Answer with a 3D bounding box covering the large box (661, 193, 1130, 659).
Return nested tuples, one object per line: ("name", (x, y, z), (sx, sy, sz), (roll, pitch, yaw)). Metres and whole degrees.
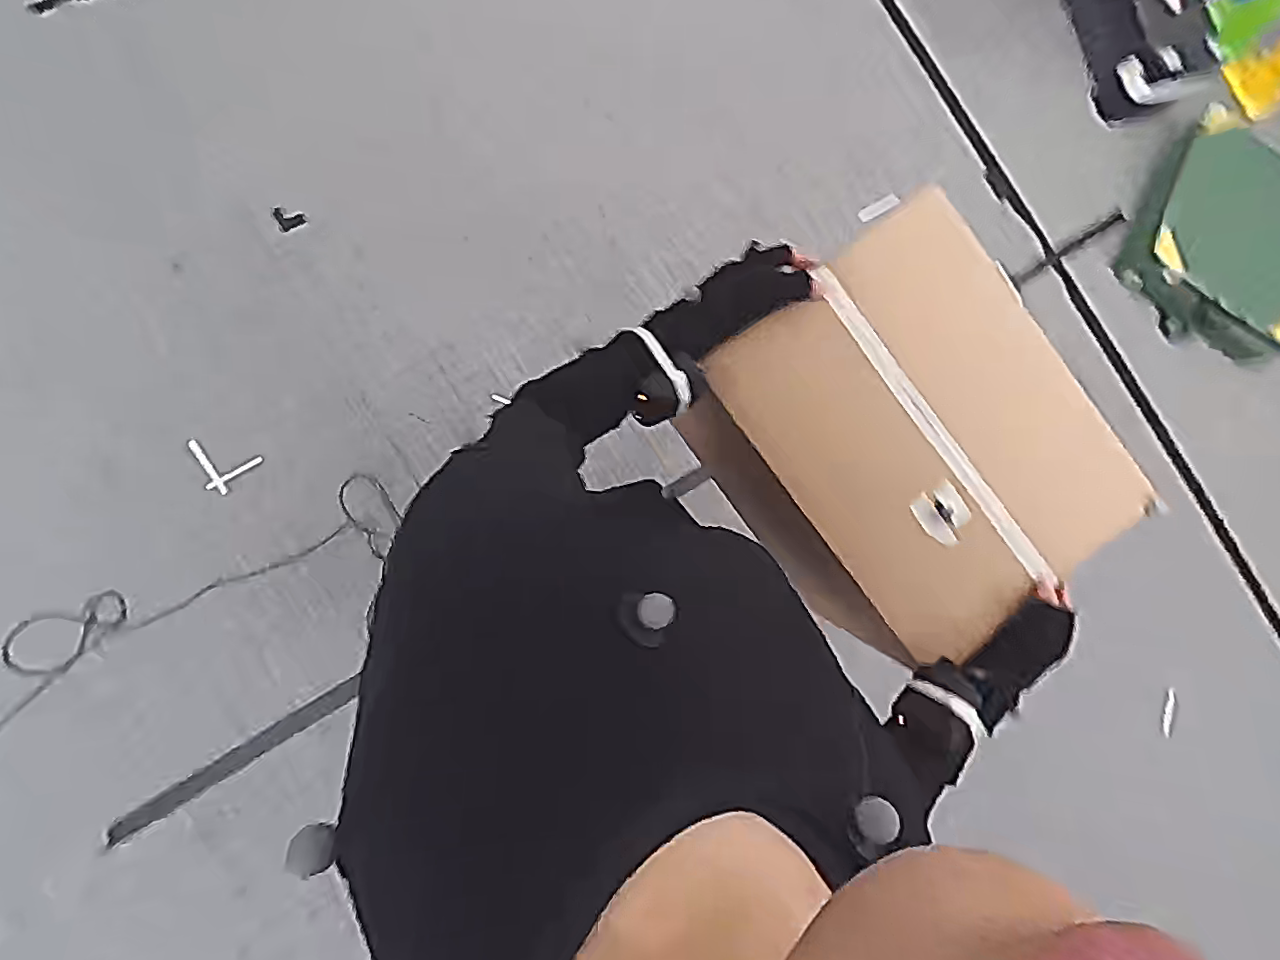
("large box", (0.281, -0.058, 0.713), (0.320, 0.320, 0.408), (-37, 94, -3))
